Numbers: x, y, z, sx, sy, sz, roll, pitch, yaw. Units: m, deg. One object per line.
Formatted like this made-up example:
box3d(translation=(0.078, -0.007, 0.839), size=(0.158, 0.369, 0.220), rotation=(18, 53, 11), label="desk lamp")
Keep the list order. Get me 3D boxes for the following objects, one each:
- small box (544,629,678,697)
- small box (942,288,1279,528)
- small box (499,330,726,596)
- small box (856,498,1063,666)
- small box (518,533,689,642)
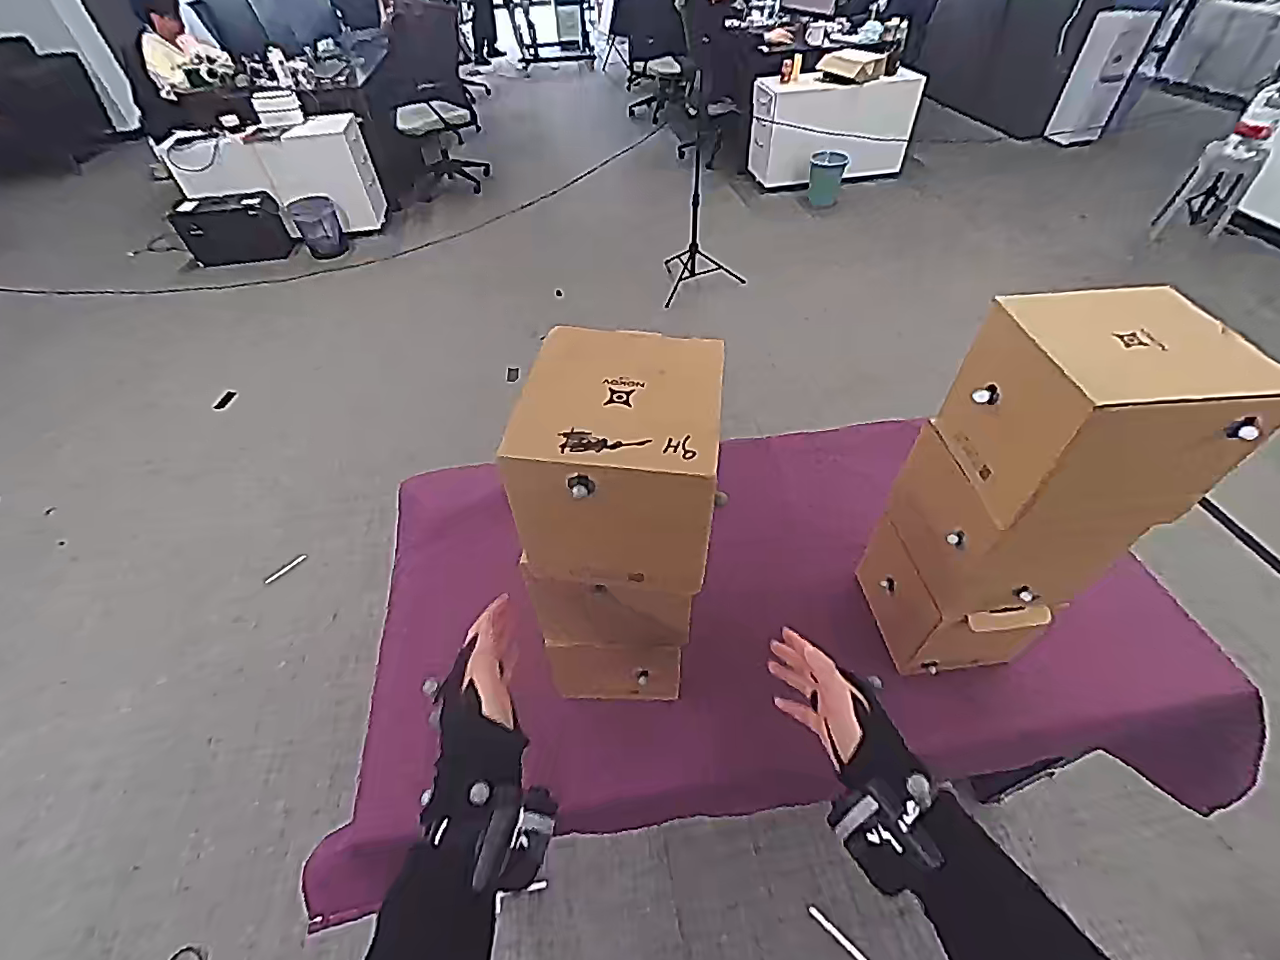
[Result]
box3d(translation=(-0.029, 0.191, 0.762), size=(0.168, 0.176, 0.179), rotation=(1, 47, 3), label="small box")
box3d(translation=(0.428, -0.066, 0.529), size=(0.179, 0.176, 0.168), rotation=(-4, 48, -1), label="small box")
box3d(translation=(-0.014, -0.017, 0.507), size=(0.168, 0.176, 0.179), rotation=(5, 48, 6), label="small box")
box3d(translation=(0.434, 0.151, 0.772), size=(0.168, 0.176, 0.179), rotation=(-6, 47, -2), label="small box")
box3d(translation=(-0.028, 0.079, 0.642), size=(0.179, 0.176, 0.168), rotation=(2, 49, 3), label="small box")
